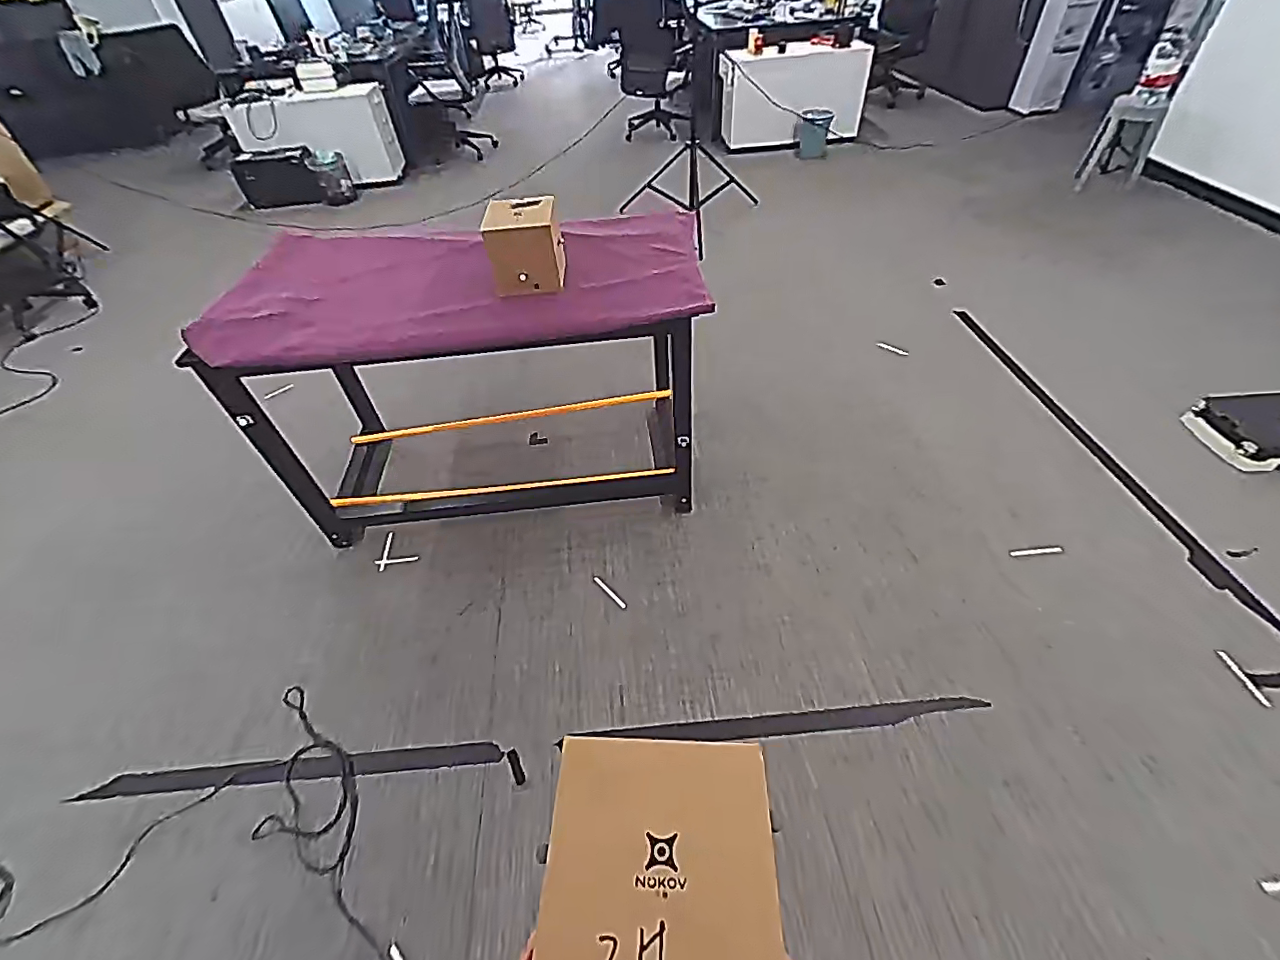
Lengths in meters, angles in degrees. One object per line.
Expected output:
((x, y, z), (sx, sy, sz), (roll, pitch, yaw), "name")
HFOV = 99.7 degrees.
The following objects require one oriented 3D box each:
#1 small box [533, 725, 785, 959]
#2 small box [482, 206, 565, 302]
((0.017, 0.327, 0.445), (0.168, 0.176, 0.179), (1, 43, 3), "small box")
((-0.285, -0.570, 1.363), (0.168, 0.176, 0.179), (-5, 46, 1), "small box")
